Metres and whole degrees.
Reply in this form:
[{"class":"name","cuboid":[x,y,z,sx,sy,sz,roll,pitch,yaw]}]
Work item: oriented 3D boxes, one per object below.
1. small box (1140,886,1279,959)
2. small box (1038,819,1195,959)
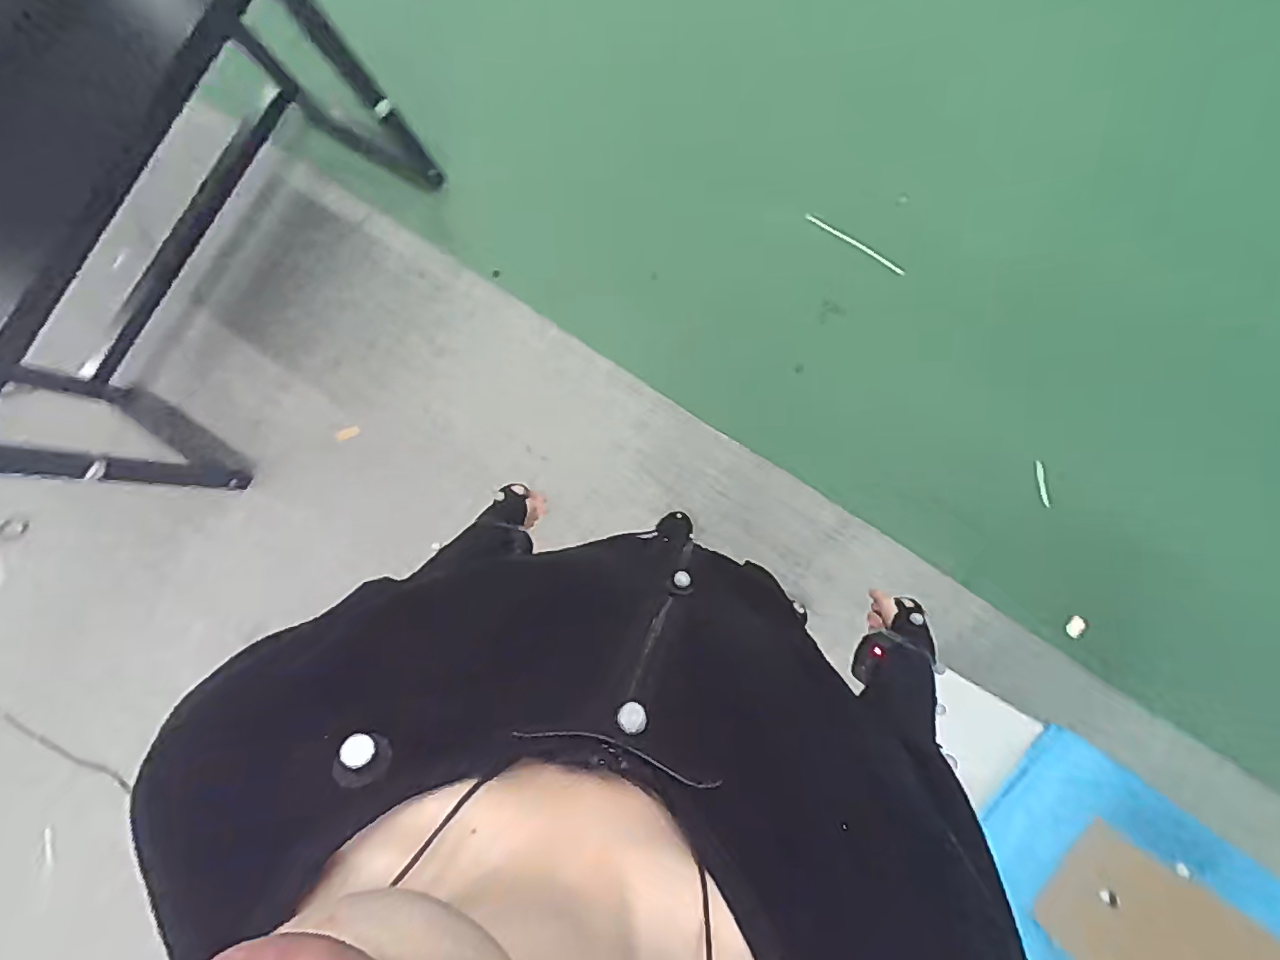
[{"class":"small box","cuboid":[0.681,0.597,0.567,0.168,0.176,0.179,36,90,6]},{"class":"small box","cuboid":[0.691,0.617,0.730,0.168,0.176,0.179,36,89,6]}]
